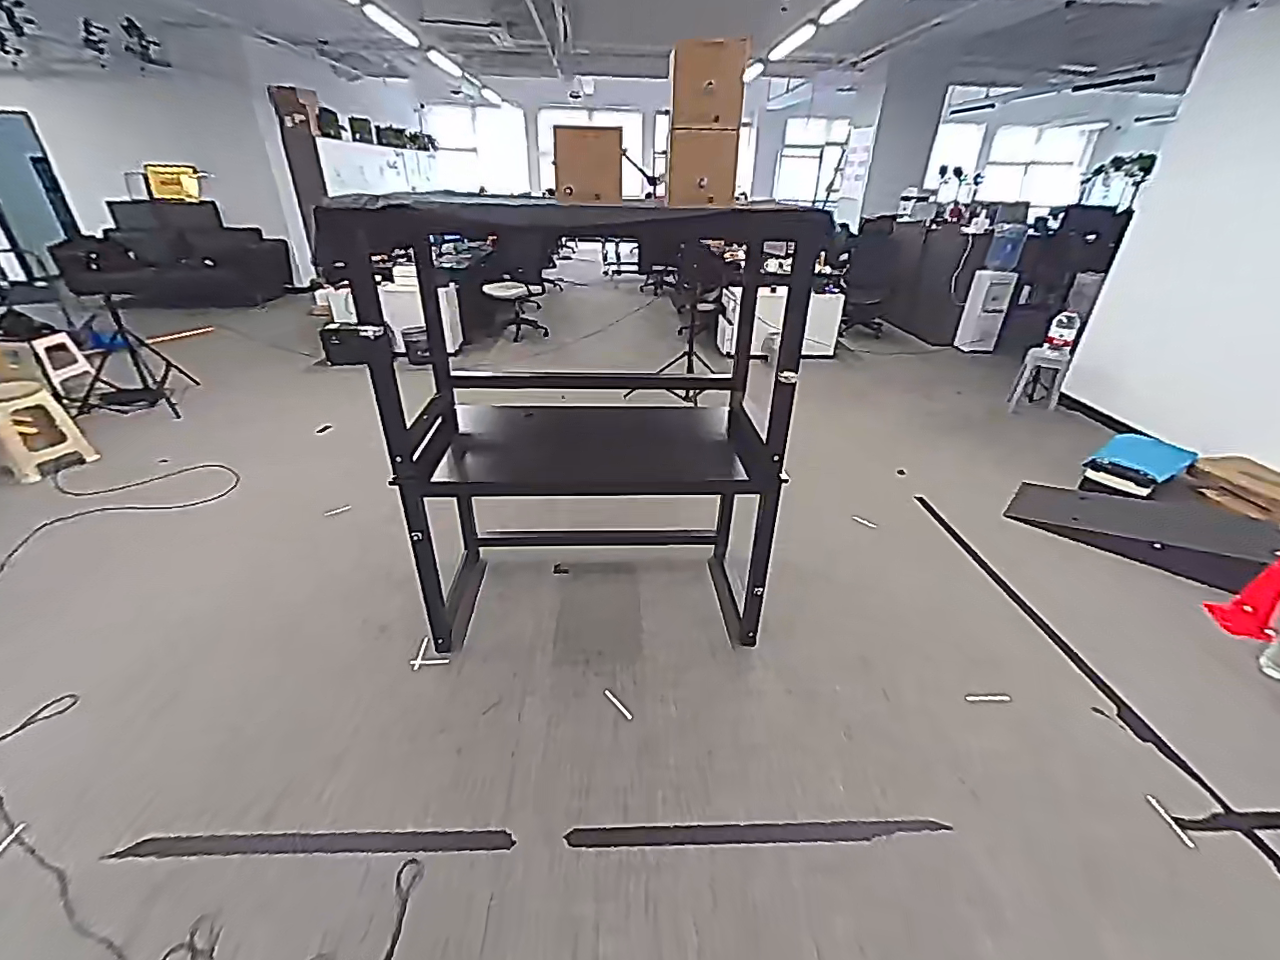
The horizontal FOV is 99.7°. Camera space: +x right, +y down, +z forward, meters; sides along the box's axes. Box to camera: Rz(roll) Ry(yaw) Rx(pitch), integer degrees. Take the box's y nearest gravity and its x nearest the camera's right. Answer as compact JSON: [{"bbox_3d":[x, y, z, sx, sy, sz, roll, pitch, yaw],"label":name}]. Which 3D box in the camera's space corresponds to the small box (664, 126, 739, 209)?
[{"bbox_3d":[0.148,-0.784,1.365,0.168,0.176,0.179,-1,29,-1],"label":"small box"}]

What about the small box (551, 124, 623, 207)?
[{"bbox_3d":[-0.127,-0.781,1.351,0.168,0.176,0.179,0,27,-3],"label":"small box"}]

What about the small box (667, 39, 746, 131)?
[{"bbox_3d":[0.151,-0.928,1.288,0.168,0.176,0.179,0,29,-1],"label":"small box"}]
